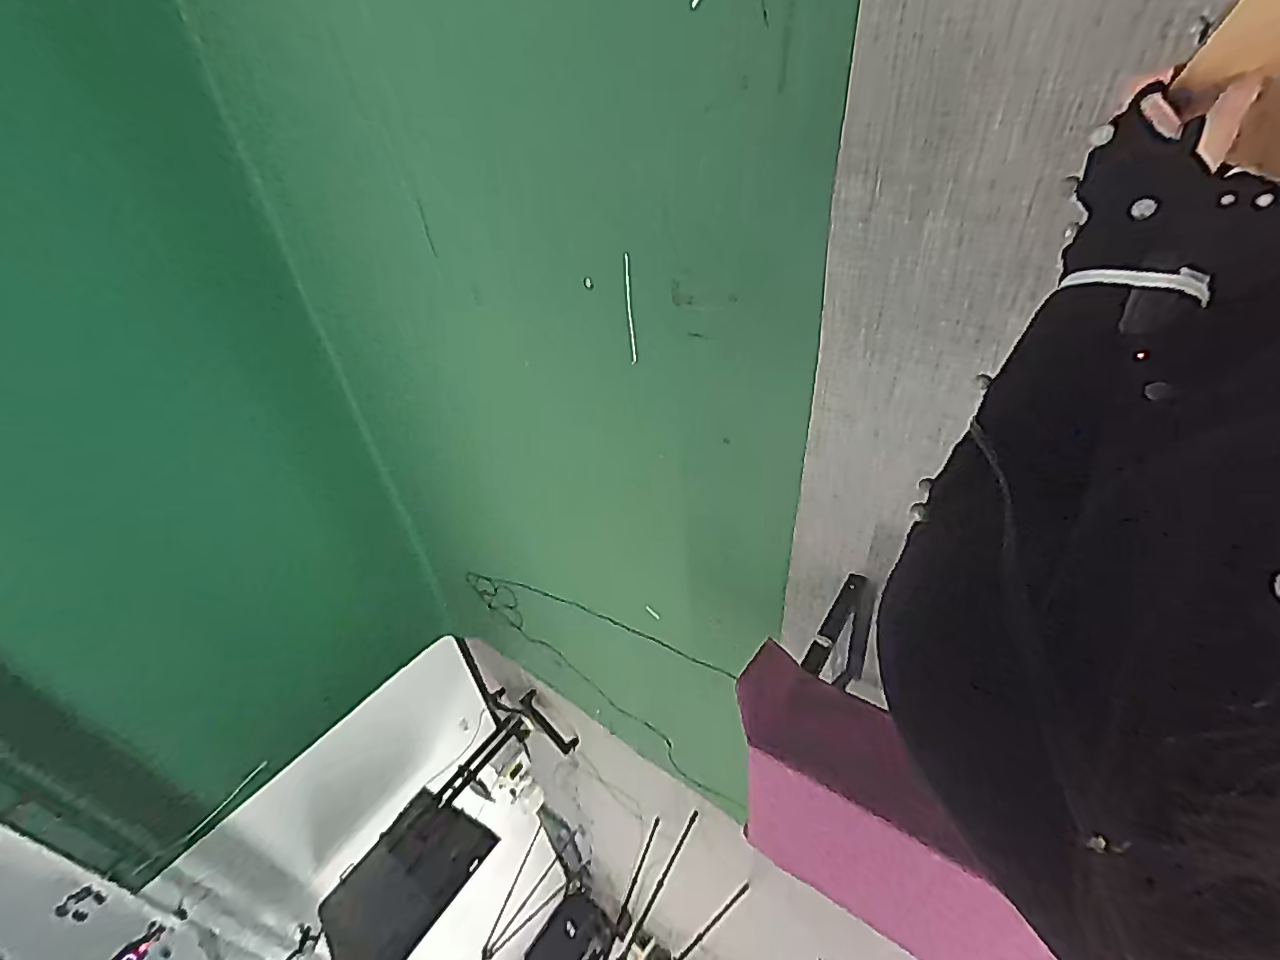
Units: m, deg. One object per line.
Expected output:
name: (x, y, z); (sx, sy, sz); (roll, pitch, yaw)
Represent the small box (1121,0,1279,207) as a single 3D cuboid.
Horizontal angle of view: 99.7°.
small box: (0.513, -0.329, 0.382); (0.168, 0.176, 0.179); (38, 155, 15)
